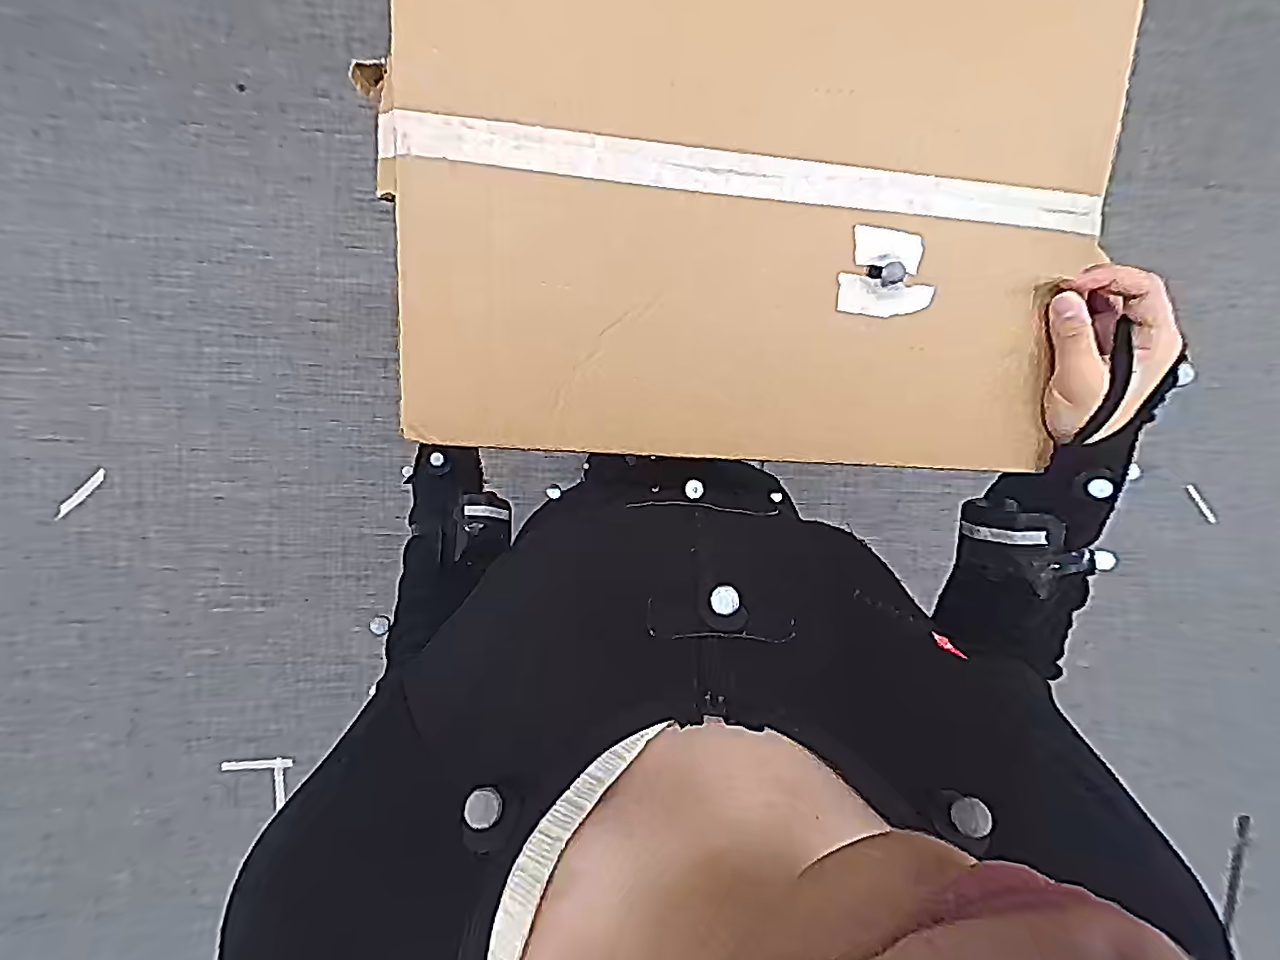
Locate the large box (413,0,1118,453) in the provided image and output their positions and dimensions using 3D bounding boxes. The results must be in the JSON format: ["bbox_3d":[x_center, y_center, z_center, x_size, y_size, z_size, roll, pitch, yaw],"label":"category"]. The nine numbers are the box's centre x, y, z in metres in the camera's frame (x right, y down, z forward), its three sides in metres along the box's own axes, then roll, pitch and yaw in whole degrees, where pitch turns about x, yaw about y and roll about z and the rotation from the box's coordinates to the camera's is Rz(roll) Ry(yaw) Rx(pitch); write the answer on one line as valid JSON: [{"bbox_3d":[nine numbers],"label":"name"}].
[{"bbox_3d":[0.055,-0.199,0.452,0.408,0.320,0.320,2,101,-10],"label":"large box"}]
